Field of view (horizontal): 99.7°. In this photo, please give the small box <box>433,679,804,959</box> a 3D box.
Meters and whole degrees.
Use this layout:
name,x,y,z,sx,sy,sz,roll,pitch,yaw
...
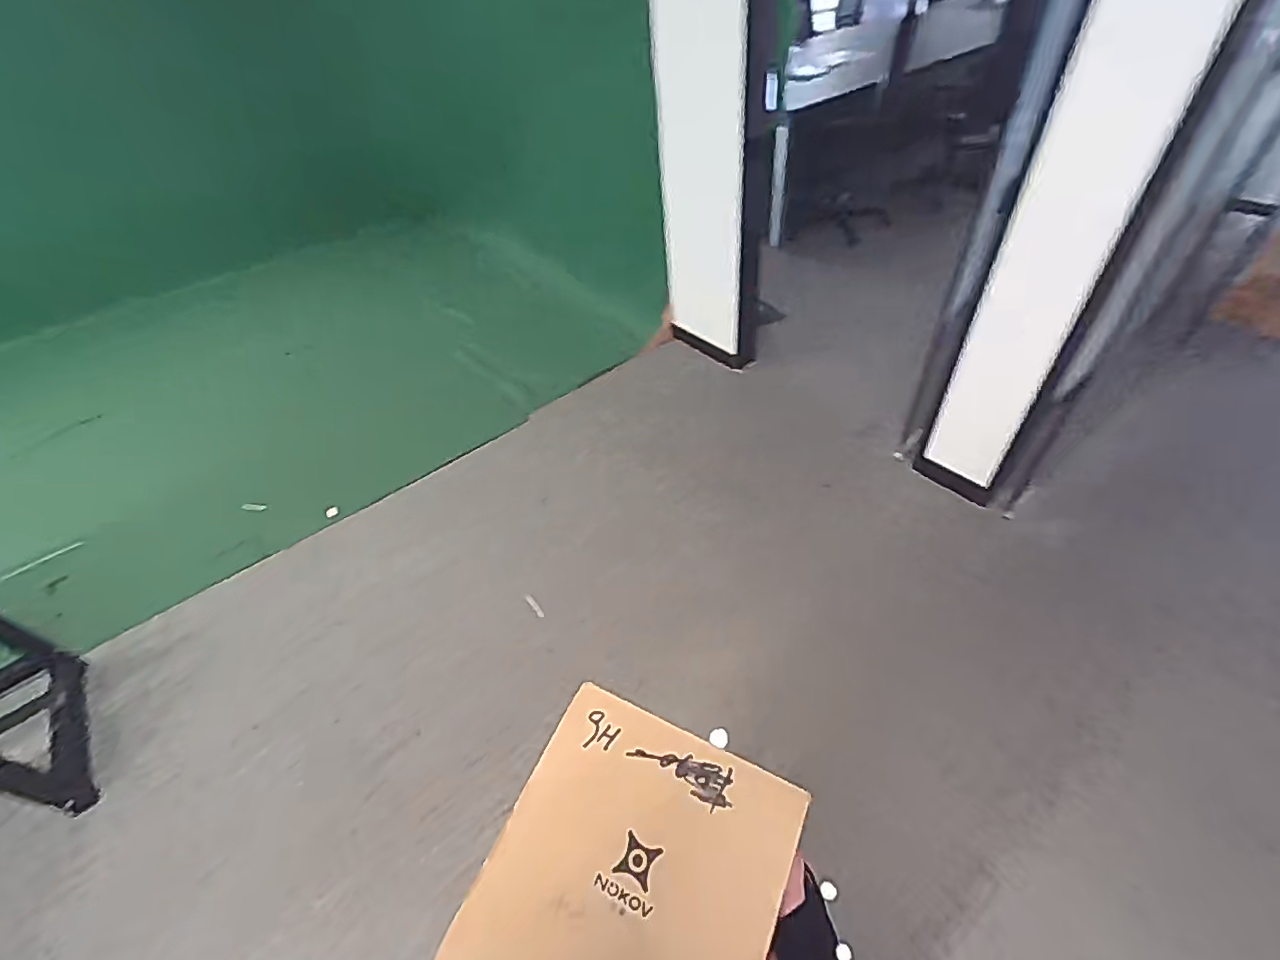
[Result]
name,x,y,z,sx,sy,sz,roll,pitch,yaw
small box,0.001,0.277,0.378,0.168,0.176,0.179,19,57,20
